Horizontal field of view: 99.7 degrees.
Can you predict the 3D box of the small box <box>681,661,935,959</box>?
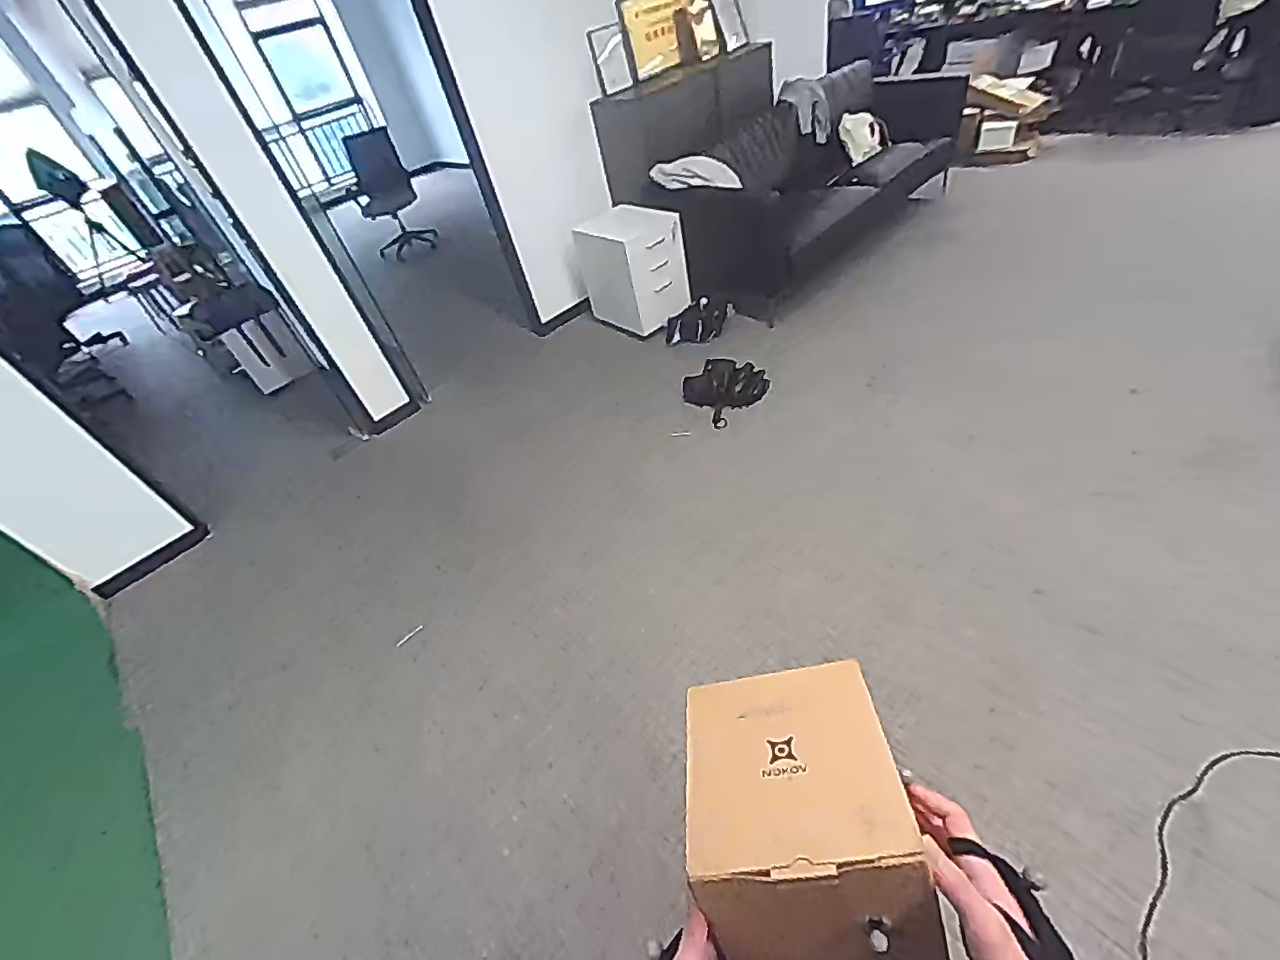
[{"bbox_3d":[0.138,0.295,0.474,0.168,0.176,0.179,-14,23,12],"label":"small box"}]
